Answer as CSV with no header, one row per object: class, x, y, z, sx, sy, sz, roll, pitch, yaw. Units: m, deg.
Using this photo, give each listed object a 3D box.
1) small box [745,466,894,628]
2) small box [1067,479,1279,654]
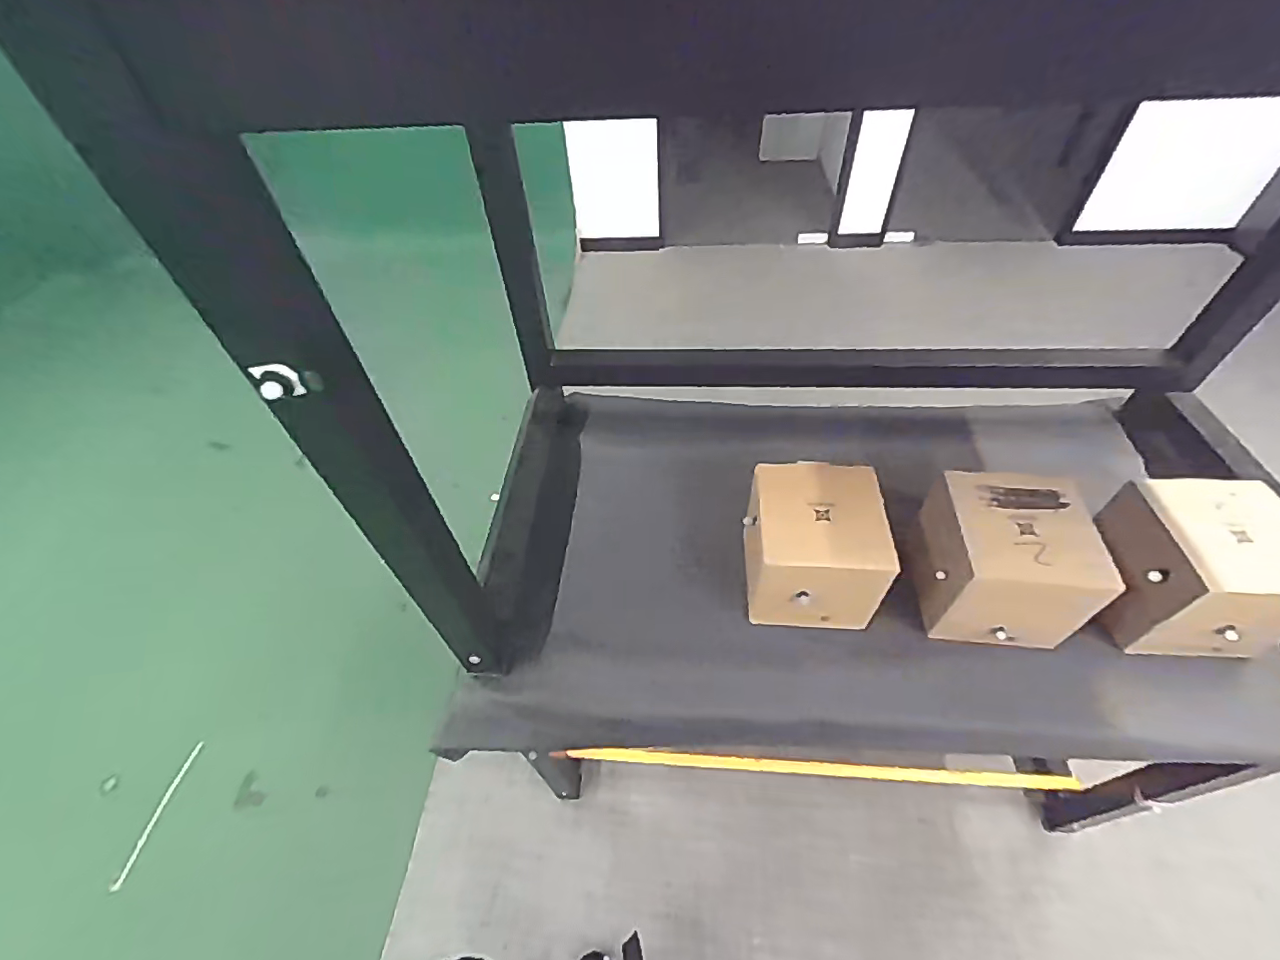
small box,0.245,0.100,0.784,0.168,0.176,0.179,1,48,5
small box,0.735,0.118,0.727,0.168,0.176,0.179,1,48,4
